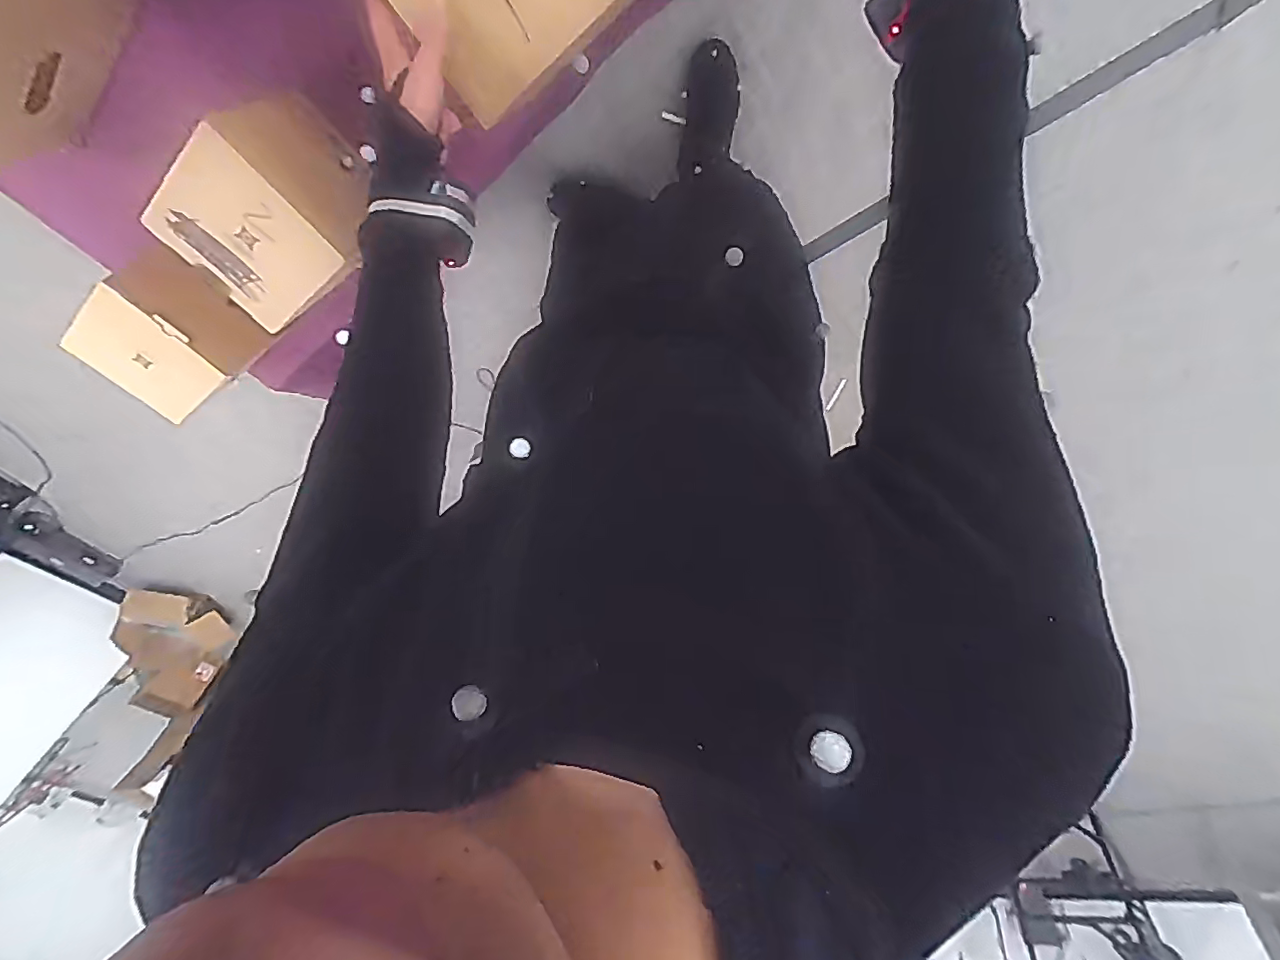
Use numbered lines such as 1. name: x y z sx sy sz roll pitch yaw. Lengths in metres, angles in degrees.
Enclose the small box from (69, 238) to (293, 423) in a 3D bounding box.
1. small box: -0.670 -0.223 0.808 0.179 0.176 0.168 -24 125 28
